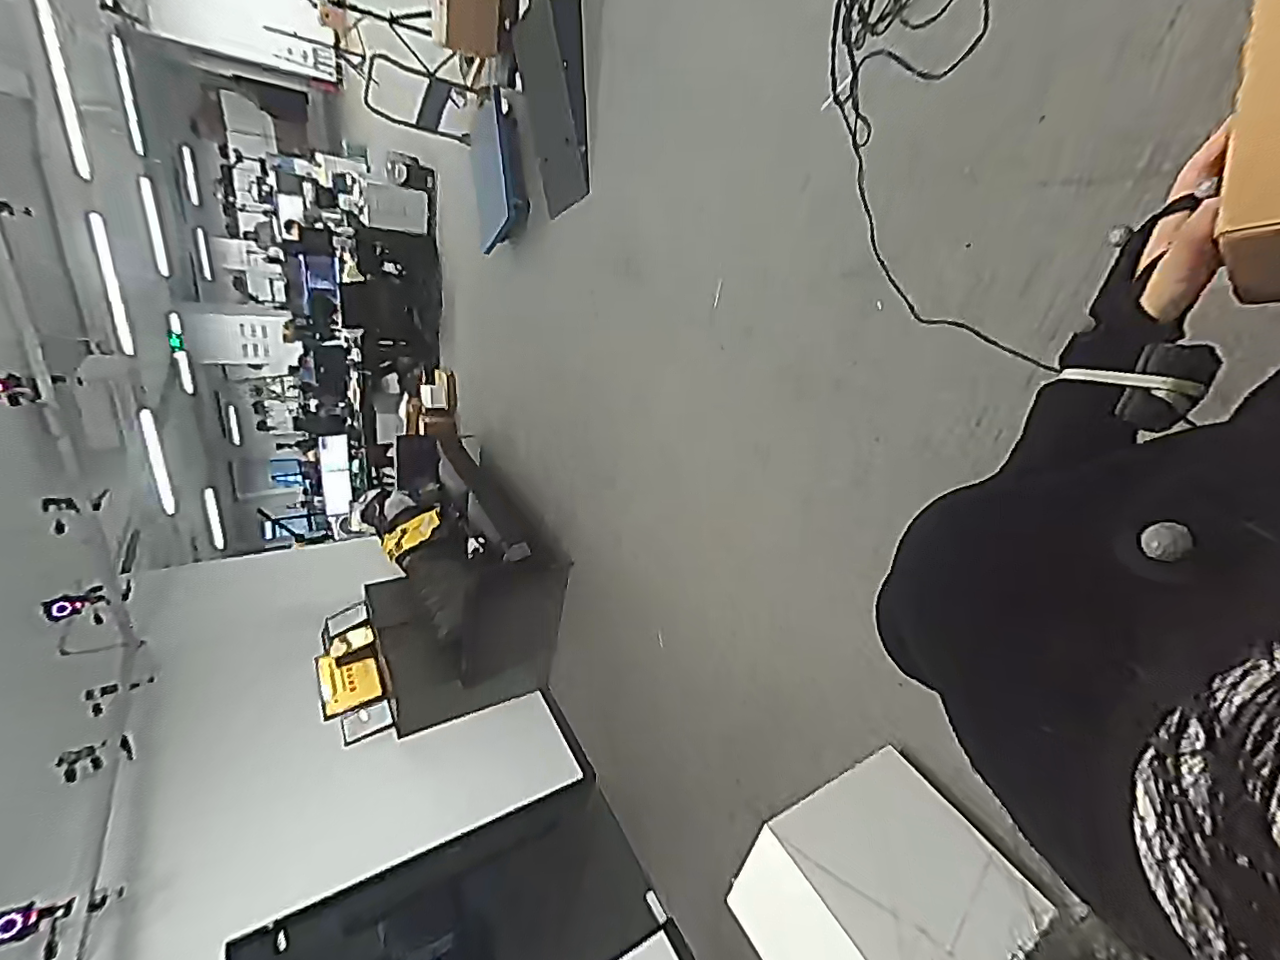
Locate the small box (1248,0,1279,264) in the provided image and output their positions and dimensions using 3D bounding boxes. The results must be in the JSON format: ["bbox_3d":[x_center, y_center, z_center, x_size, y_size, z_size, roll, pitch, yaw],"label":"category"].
[{"bbox_3d":[0.439,-0.221,0.267,0.168,0.176,0.179,9,97,51],"label":"small box"}]
